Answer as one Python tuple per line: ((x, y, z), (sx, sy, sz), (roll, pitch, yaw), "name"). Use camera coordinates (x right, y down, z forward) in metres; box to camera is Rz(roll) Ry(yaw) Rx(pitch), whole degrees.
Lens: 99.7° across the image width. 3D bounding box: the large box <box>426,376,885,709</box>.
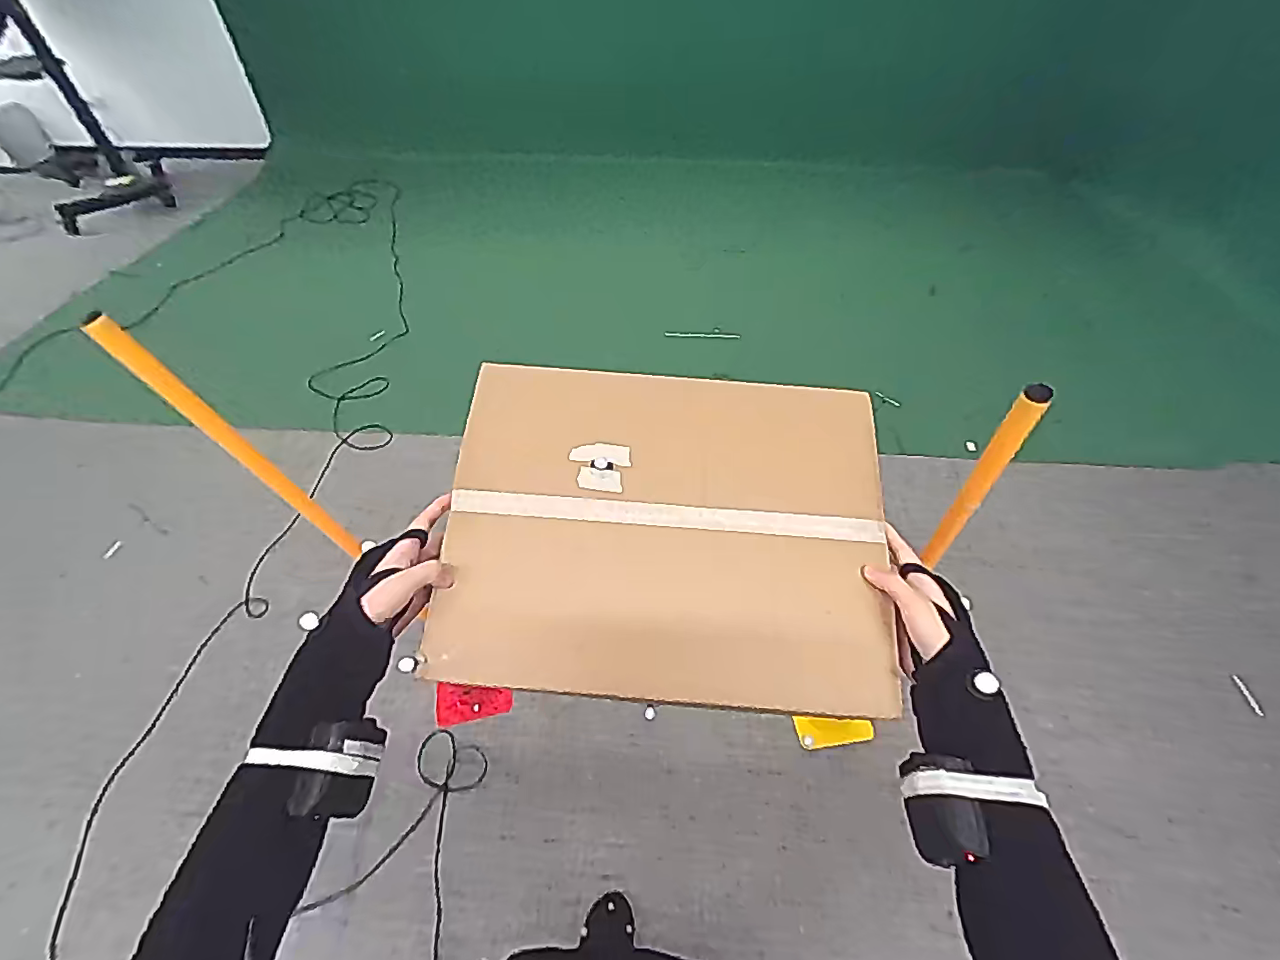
((0.023, 0.095, 0.656), (0.408, 0.320, 0.320), (4, 67, 2), "large box")
